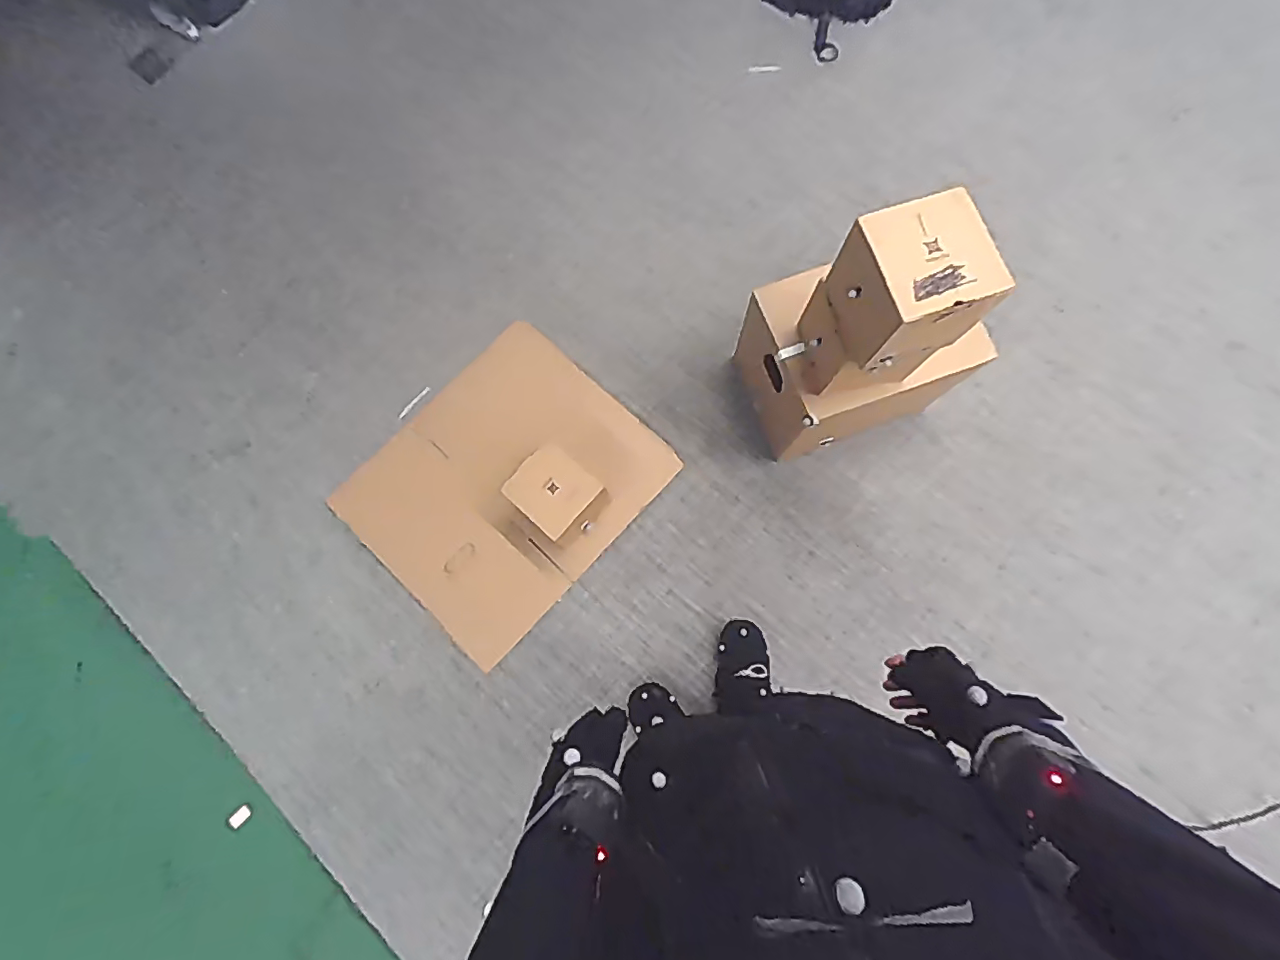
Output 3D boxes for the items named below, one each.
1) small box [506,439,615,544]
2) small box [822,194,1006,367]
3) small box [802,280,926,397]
[{"bbox_3d":[-0.179,0.036,1.271,0.179,0.176,0.168,41,85,10],"label":"small box"},{"bbox_3d":[0.412,-0.295,0.845,0.168,0.176,0.179,-20,79,-1],"label":"small box"},{"bbox_3d":[0.417,-0.273,1.011,0.179,0.176,0.168,-14,76,-1],"label":"small box"}]
